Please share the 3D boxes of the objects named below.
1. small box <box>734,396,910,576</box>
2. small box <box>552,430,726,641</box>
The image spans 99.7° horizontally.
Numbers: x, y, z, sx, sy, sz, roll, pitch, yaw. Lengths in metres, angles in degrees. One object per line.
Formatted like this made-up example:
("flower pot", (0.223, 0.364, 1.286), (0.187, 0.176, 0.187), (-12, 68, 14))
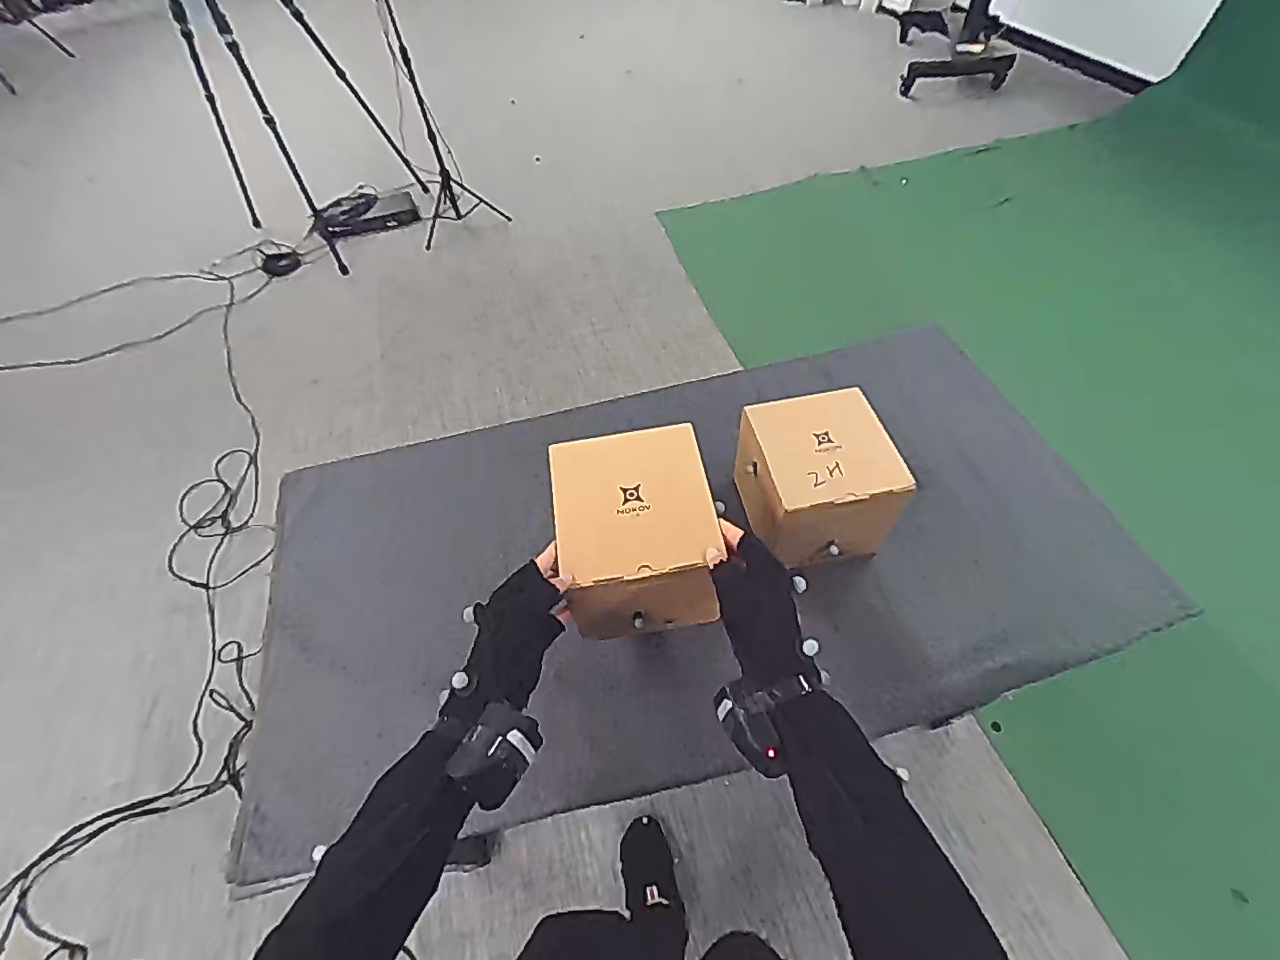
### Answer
("small box", (0.237, 0.010, 0.759), (0.168, 0.176, 0.179), (-10, 54, -3))
("small box", (-0.005, 0.069, 0.637), (0.168, 0.176, 0.179), (-9, 56, -3))
